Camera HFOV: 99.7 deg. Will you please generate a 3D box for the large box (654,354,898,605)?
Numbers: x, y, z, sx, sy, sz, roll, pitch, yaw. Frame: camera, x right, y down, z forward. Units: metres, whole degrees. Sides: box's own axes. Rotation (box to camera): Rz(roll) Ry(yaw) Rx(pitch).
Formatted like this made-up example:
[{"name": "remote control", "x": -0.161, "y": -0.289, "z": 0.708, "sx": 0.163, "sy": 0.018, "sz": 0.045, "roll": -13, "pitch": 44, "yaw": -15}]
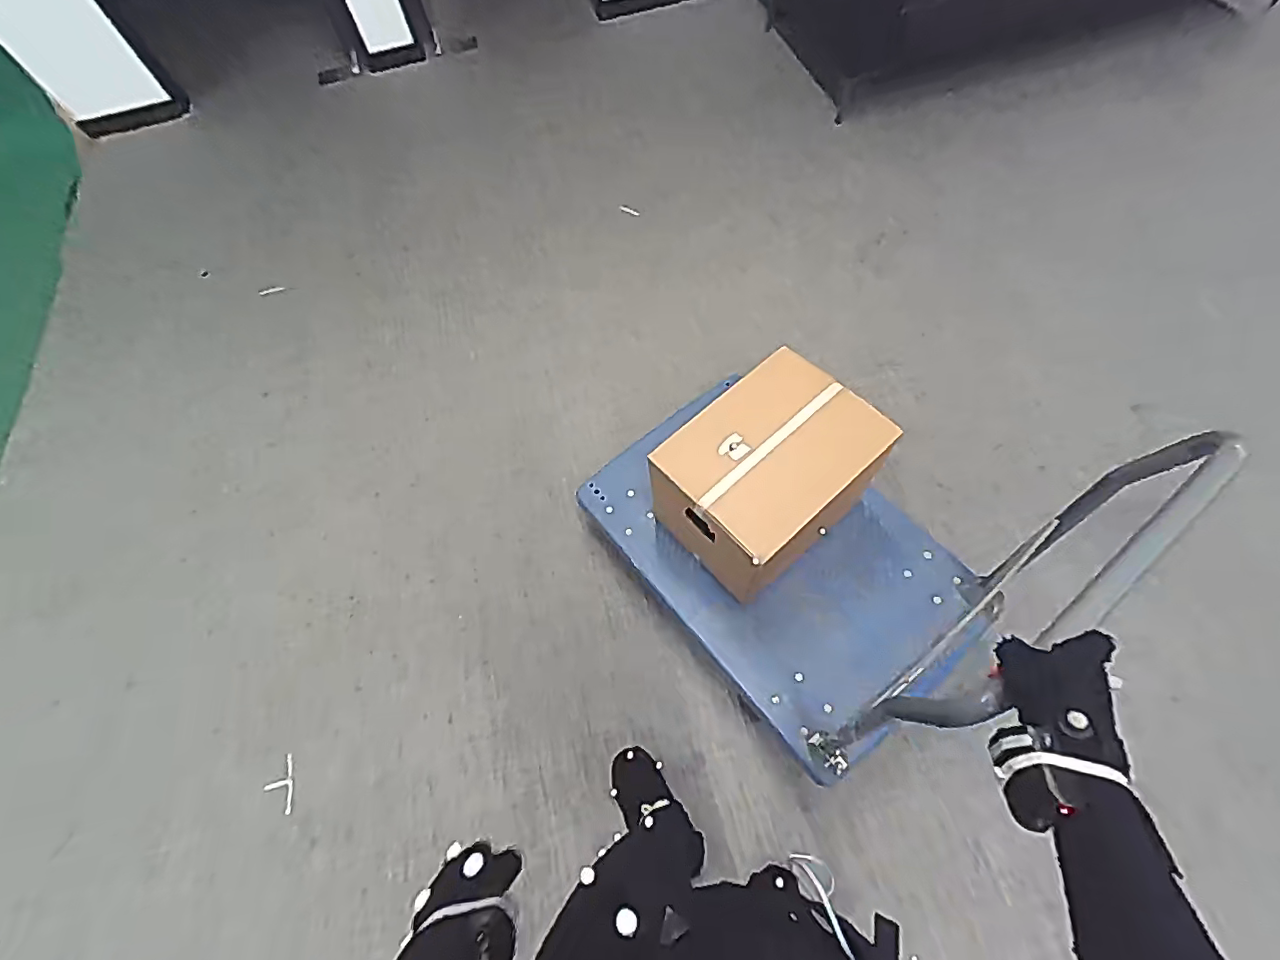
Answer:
[{"name": "large box", "x": 0.284, "y": 0.007, "z": 1.214, "sx": 0.408, "sy": 0.320, "sz": 0.320, "roll": -40, "pitch": 66, "yaw": -14}]
